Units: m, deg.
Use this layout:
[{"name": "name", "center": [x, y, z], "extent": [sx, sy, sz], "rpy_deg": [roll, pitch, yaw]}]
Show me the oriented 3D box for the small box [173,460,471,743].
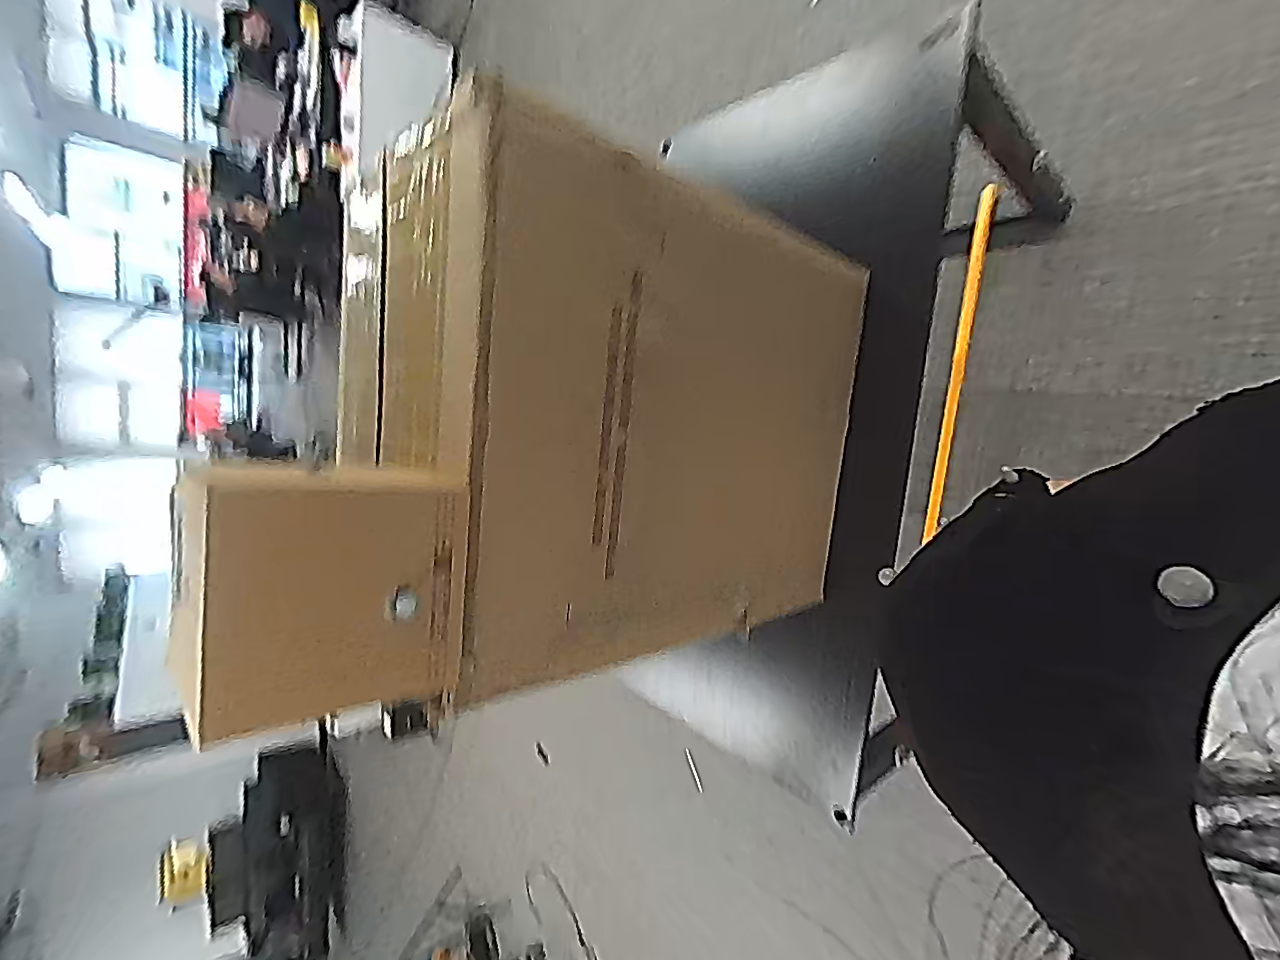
[{"name": "small box", "center": [-0.258, 0.075, 0.438], "extent": [0.179, 0.176, 0.168], "rpy_deg": [7, 95, 45]}]
